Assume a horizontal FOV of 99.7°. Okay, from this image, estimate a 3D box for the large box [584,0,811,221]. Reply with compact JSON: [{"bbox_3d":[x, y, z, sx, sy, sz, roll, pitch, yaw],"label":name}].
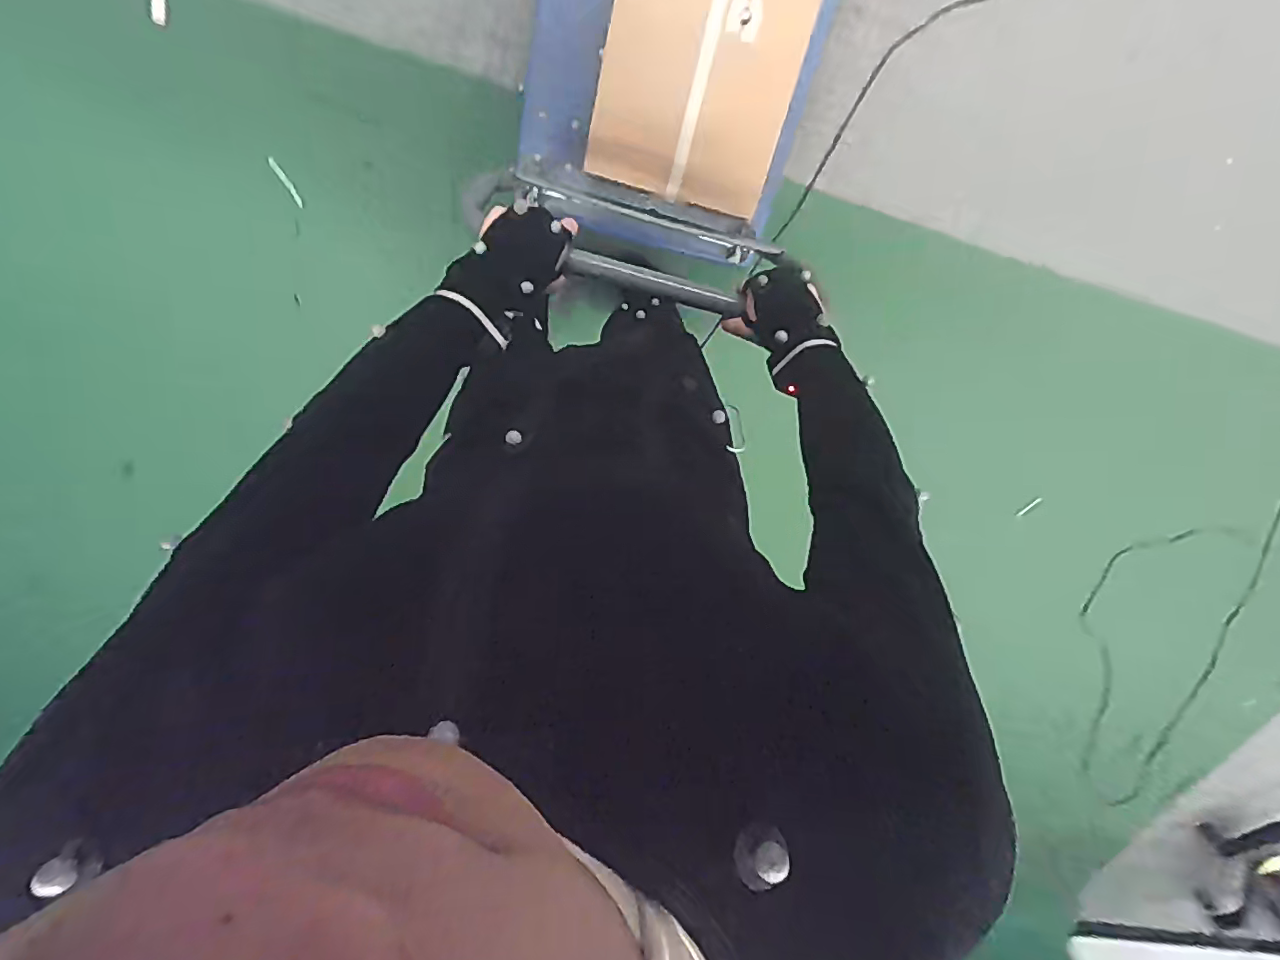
[{"bbox_3d":[0.085,-0.735,1.011,0.320,0.320,0.408,11,114,-9],"label":"large box"}]
